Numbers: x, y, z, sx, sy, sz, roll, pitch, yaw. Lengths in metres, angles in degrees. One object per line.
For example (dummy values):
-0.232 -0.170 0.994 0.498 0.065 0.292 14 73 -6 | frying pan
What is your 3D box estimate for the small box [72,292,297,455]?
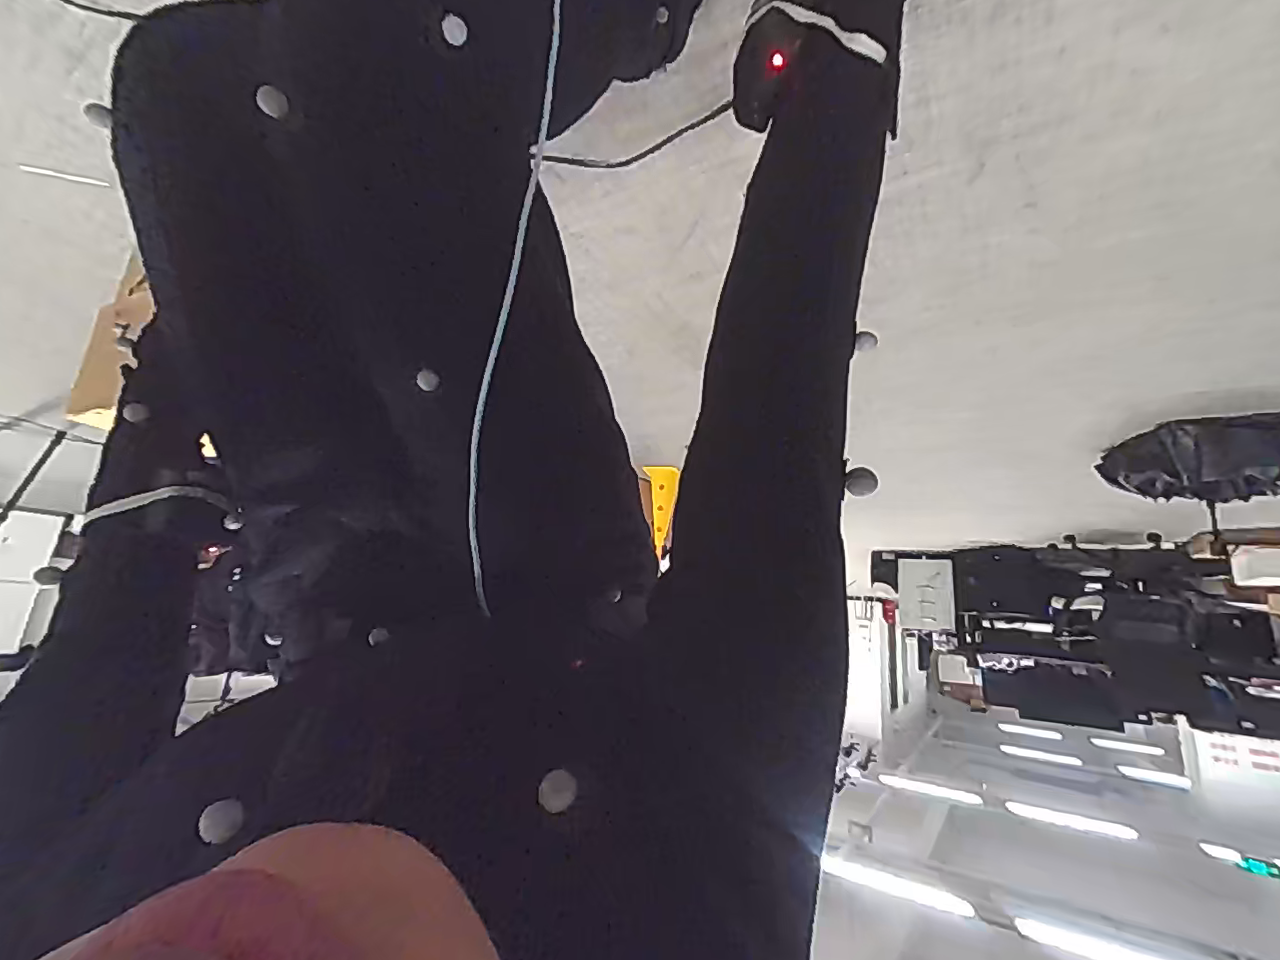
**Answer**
-0.637 -0.142 0.776 0.168 0.176 0.179 -1 164 25 | small box
